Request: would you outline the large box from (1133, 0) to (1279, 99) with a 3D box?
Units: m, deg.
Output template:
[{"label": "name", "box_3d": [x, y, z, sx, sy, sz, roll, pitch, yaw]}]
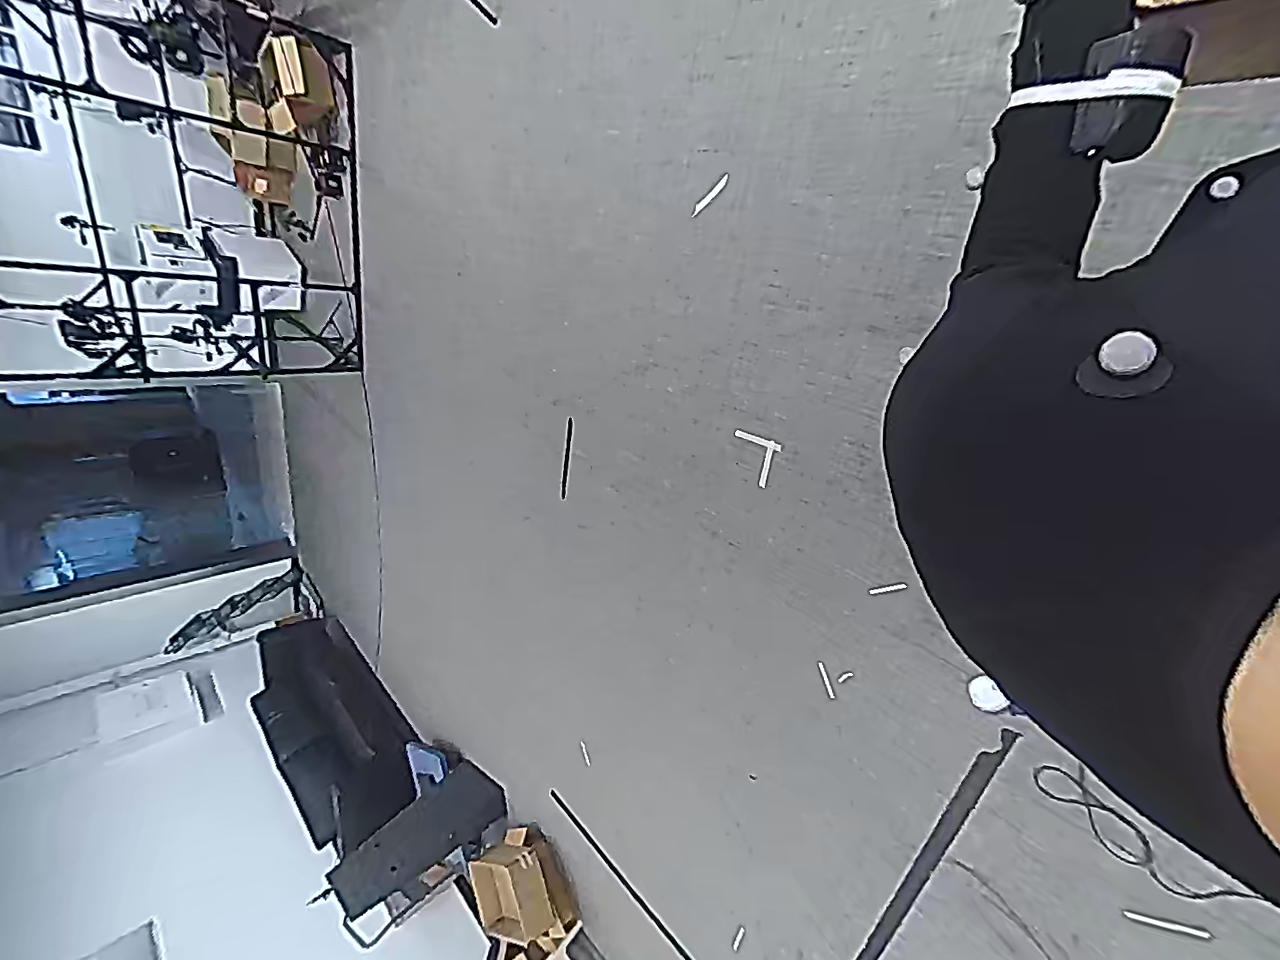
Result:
[{"label": "large box", "box_3d": [0.546, -0.416, 0.254, 0.408, 0.320, 0.320, 20, 123, 37]}]
